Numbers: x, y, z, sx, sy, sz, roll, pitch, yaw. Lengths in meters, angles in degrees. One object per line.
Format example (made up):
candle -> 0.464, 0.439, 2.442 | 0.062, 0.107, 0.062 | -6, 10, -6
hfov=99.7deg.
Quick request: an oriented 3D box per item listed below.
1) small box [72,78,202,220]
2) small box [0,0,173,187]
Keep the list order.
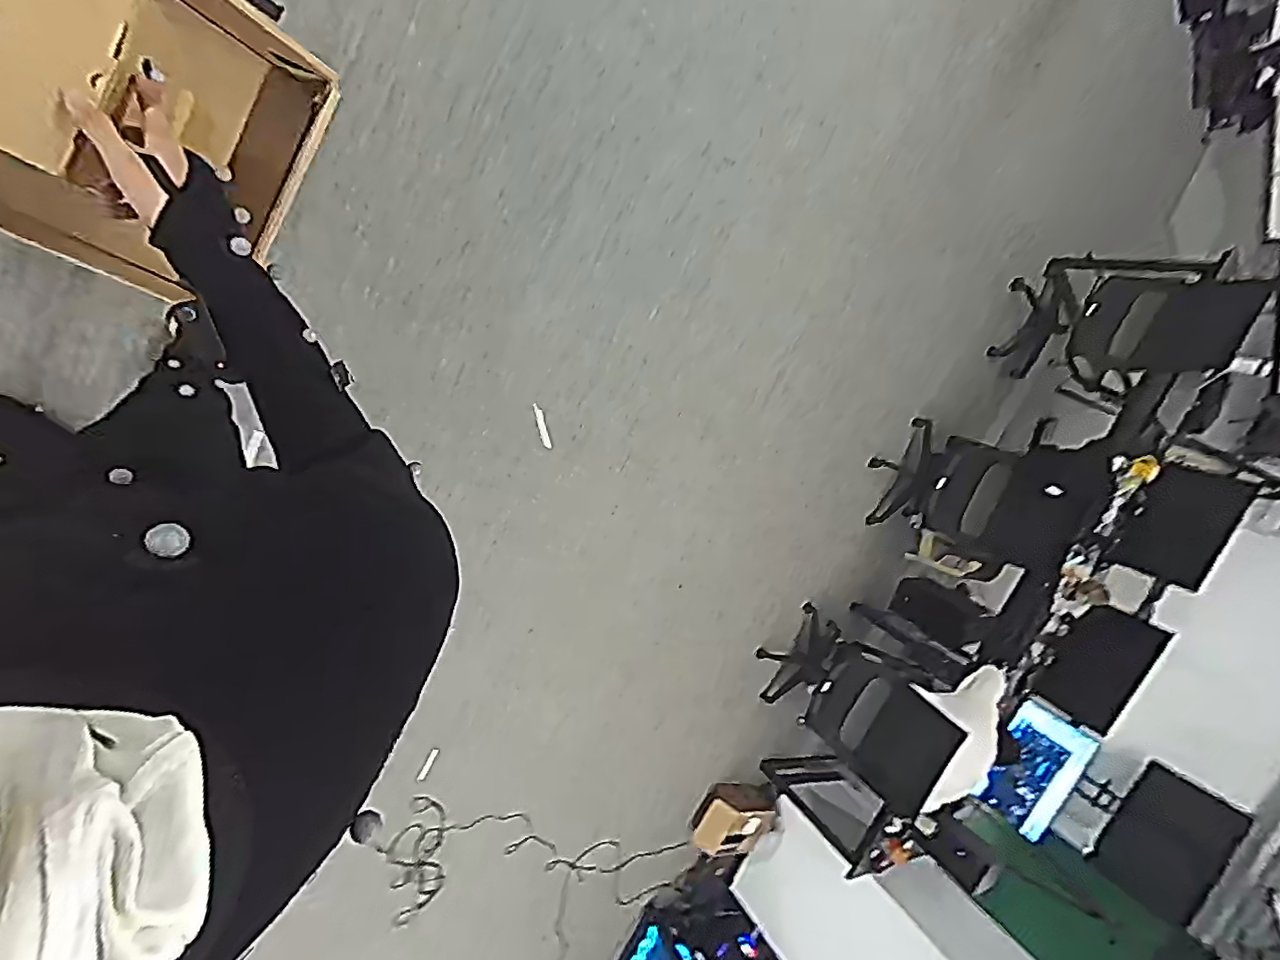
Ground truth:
small box -> -0.699, -0.464, 0.695 | 0.168, 0.176, 0.179 | 28, 95, -37
small box -> -0.525, -0.365, 0.438 | 0.179, 0.176, 0.168 | 26, 95, -36
